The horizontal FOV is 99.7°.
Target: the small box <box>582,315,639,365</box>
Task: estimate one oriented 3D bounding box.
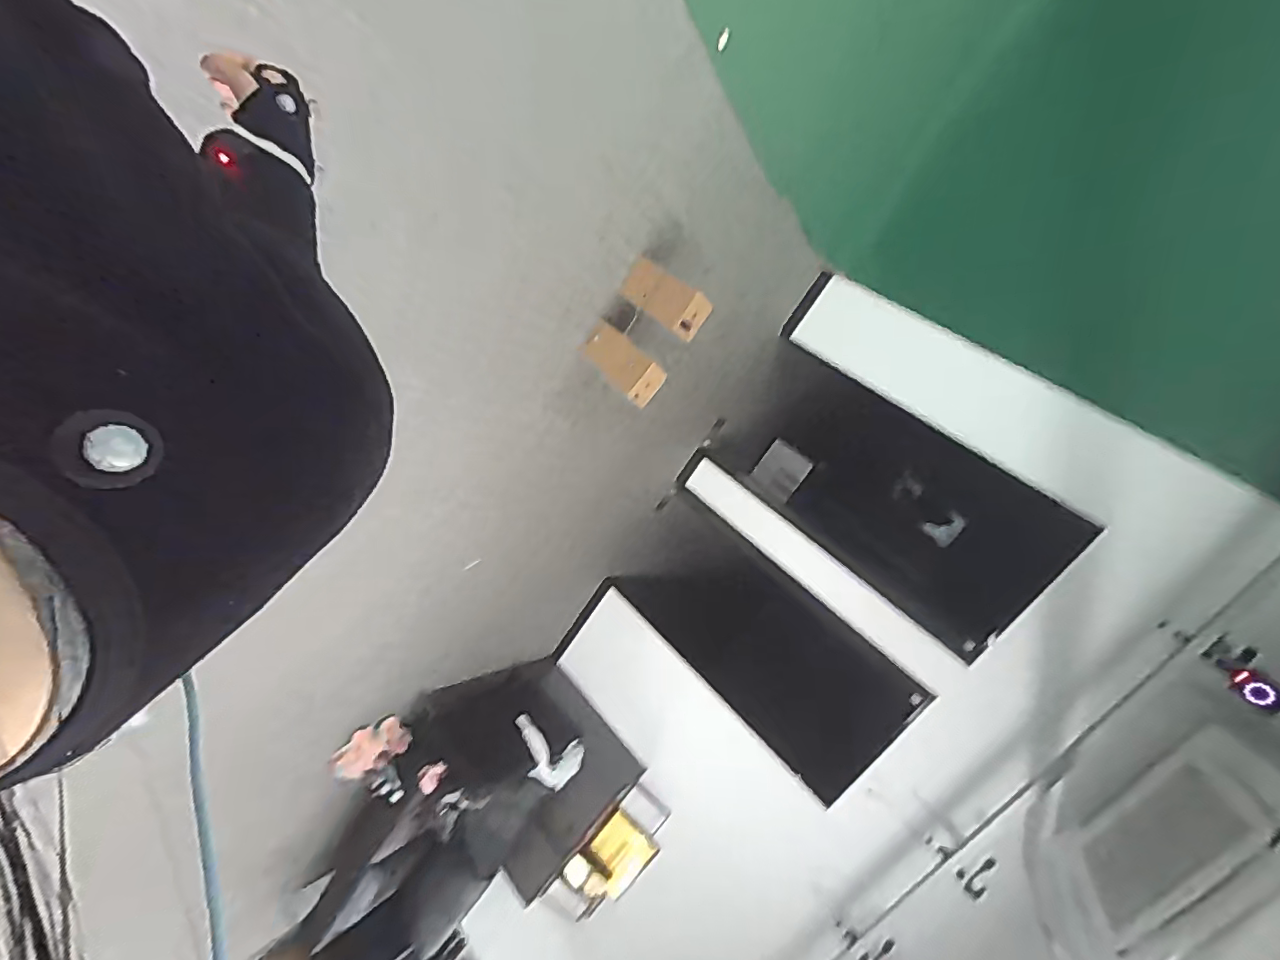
[{"bbox_3d":[-0.111,-0.571,2.298,0.168,0.176,0.179,-52,154,6],"label":"small box"}]

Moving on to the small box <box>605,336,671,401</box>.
[{"bbox_3d":[-0.010,-0.461,2.226,0.179,0.176,0.168,-53,154,6],"label":"small box"}]
